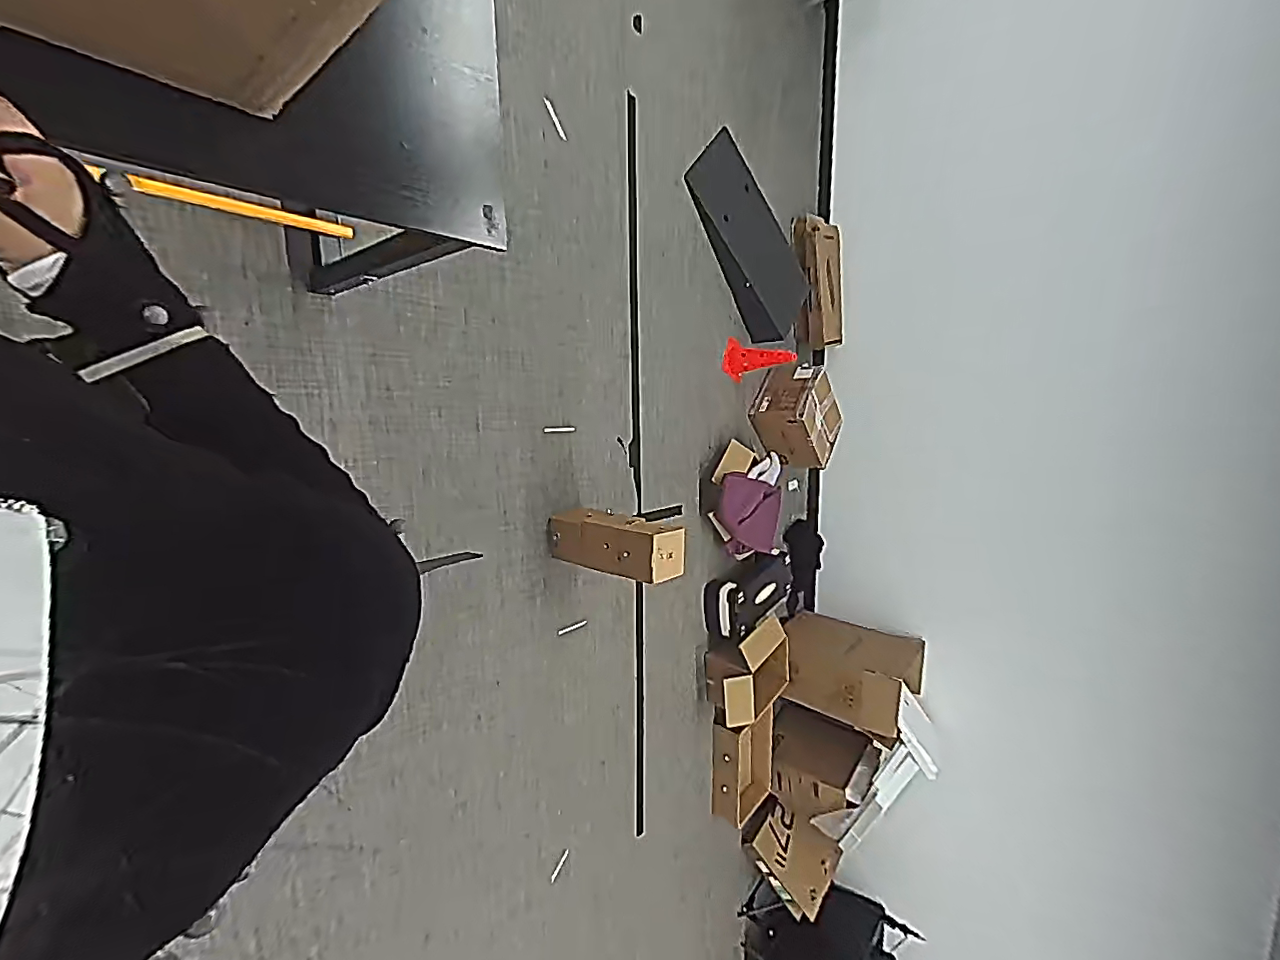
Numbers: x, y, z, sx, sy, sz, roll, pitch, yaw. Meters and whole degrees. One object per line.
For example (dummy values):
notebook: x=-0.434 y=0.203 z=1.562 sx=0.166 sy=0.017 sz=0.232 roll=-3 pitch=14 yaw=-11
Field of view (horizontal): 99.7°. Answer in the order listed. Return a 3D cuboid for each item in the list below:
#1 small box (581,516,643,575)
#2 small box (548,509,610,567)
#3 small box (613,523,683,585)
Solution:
small box: x=-0.101 y=0.229 z=1.954 sx=0.168 sy=0.176 sz=0.179 roll=-11 pitch=103 yaw=-49
small box: x=-0.228 y=0.215 z=2.058 sx=0.179 sy=0.176 sz=0.168 roll=-17 pitch=107 yaw=-47
small box: x=0.027 y=0.246 z=1.852 sx=0.179 sy=0.176 sz=0.168 roll=-6 pitch=99 yaw=-50
